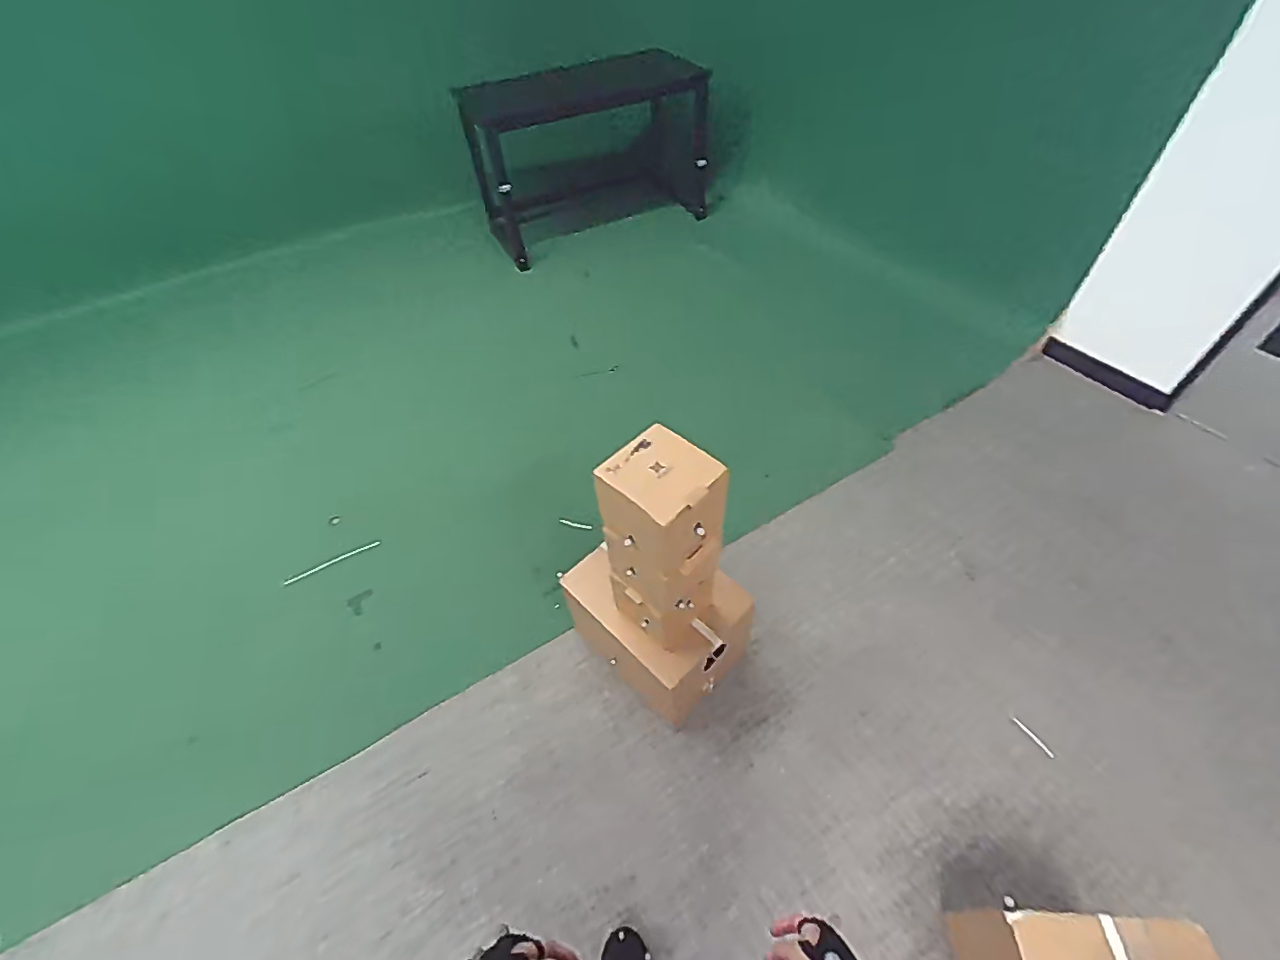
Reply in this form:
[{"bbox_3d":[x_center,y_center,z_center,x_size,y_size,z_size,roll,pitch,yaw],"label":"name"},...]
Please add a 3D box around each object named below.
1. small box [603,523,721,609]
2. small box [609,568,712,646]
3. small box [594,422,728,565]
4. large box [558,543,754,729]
[{"bbox_3d":[0.049,0.142,1.120,0.179,0.176,0.168,36,61,29],"label":"small box"},{"bbox_3d":[0.053,0.247,1.245,0.179,0.176,0.168,-37,57,-25],"label":"small box"},{"bbox_3d":[0.040,0.033,0.997,0.168,0.176,0.179,-38,58,-25],"label":"small box"},{"bbox_3d":[0.047,0.376,1.457,0.320,0.320,0.408,-37,55,-26],"label":"large box"}]
